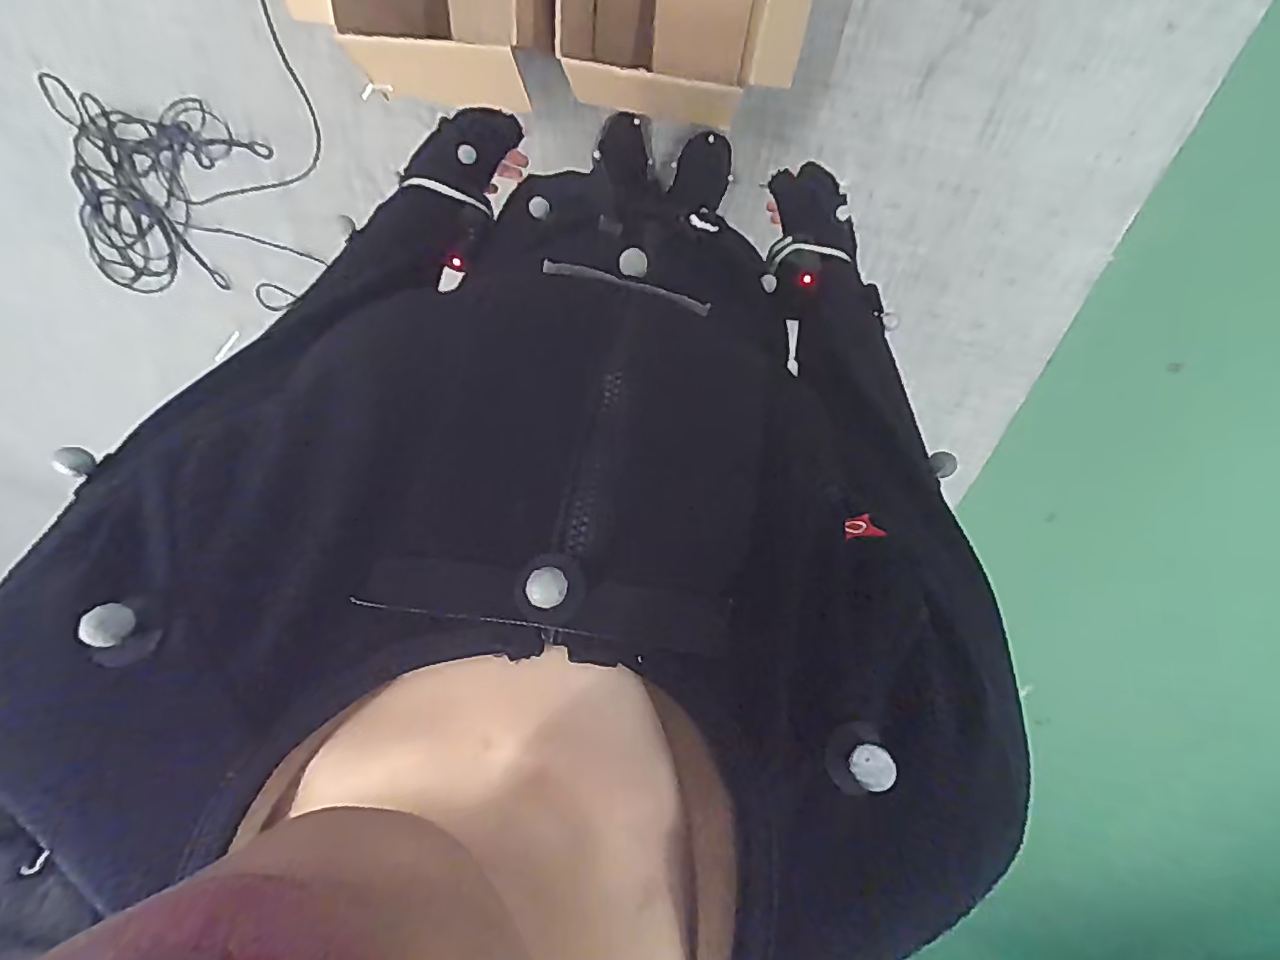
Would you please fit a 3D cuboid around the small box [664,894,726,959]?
[{"bbox_3d":[0.173,1.434,1.693,0.168,0.176,0.179,9,126,0],"label":"small box"}]
